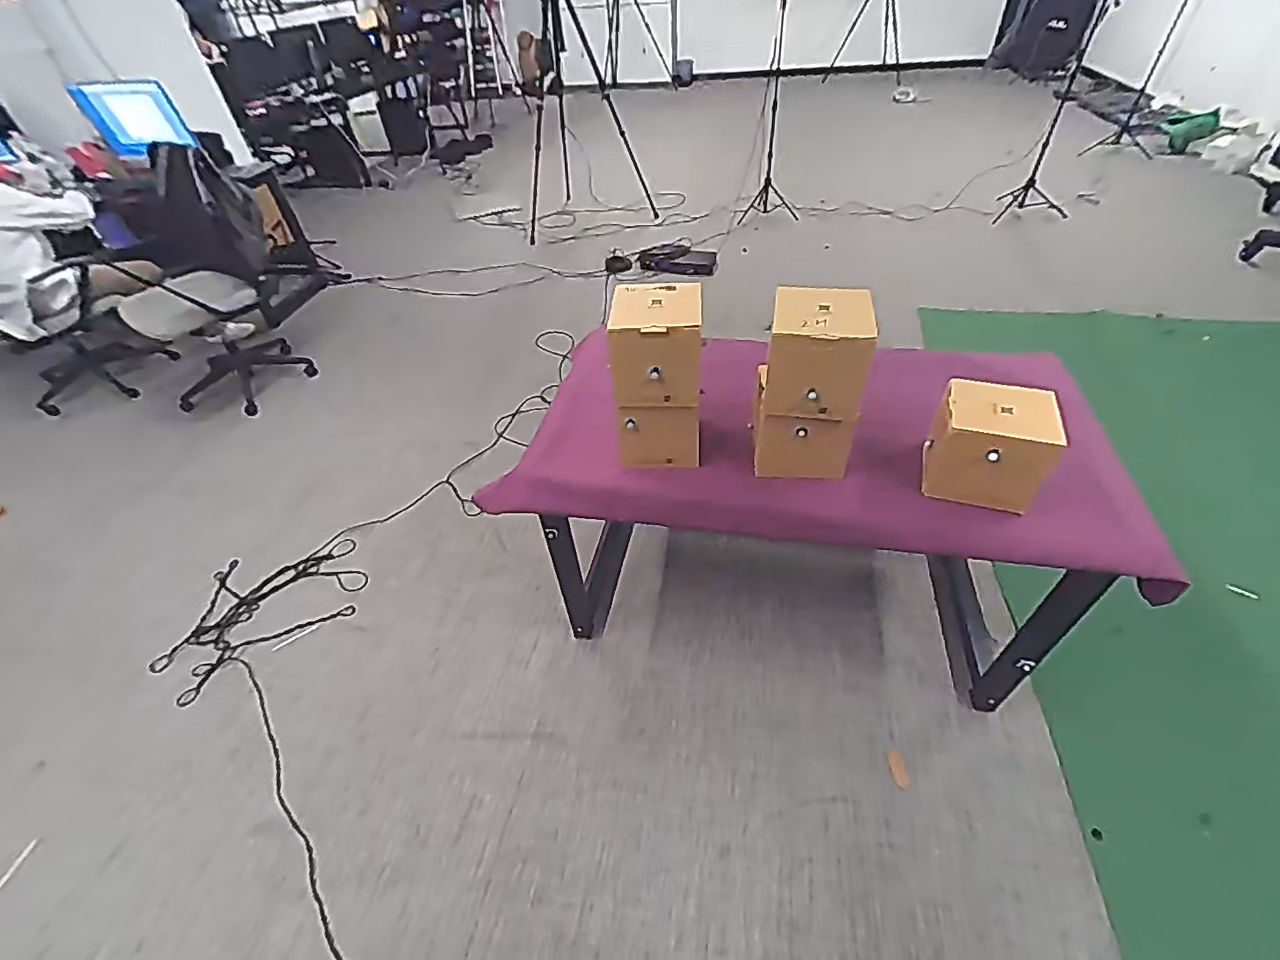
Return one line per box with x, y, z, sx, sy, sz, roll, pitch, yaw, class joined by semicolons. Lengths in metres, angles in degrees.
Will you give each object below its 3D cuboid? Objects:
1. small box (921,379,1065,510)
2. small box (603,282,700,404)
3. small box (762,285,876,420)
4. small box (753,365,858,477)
0.648;-0.065;1.012;0.179;0.176;0.168;12;46;19;small box
0.031;-0.258;1.031;0.168;0.176;0.179;1;45;6;small box
0.315;-0.232;0.979;0.168;0.176;0.179;6;46;12;small box
0.324;-0.120;1.100;0.179;0.176;0.168;2;45;6;small box
